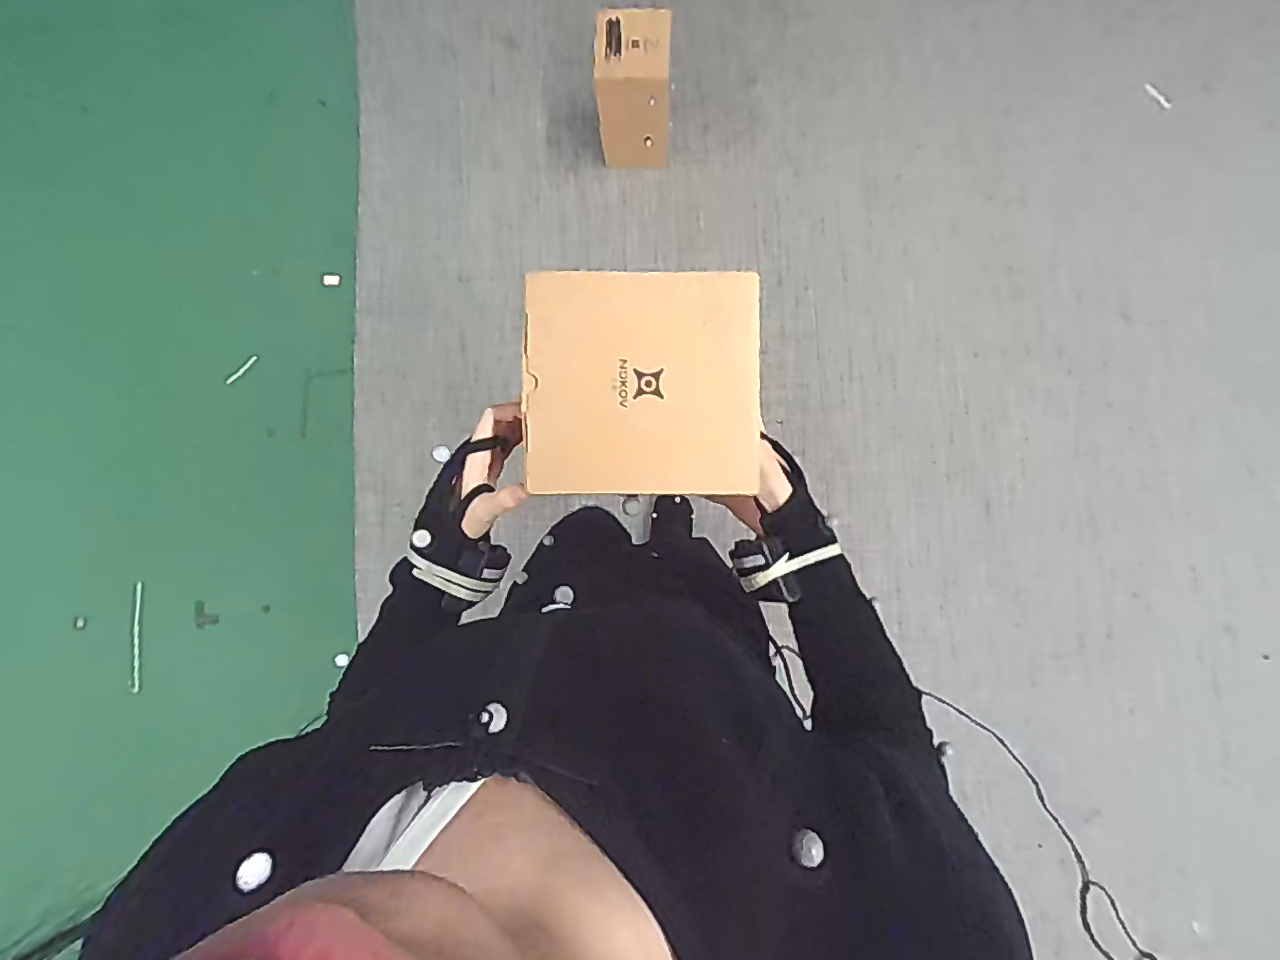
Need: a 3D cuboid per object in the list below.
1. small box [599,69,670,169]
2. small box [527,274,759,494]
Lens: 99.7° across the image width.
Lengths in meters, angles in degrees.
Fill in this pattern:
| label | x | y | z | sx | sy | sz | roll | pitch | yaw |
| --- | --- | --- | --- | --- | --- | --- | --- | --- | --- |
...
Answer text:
| label | x | y | z | sx | sy | sz | roll | pitch | yaw |
| --- | --- | --- | --- | --- | --- | --- | --- | --- | --- |
| small box | -0.011 | -0.982 | 1.484 | 0.179 | 0.176 | 0.168 | 4 | 87 | 3 |
| small box | 0.002 | -0.073 | 0.485 | 0.179 | 0.176 | 0.168 | -1 | 91 | 1 |
